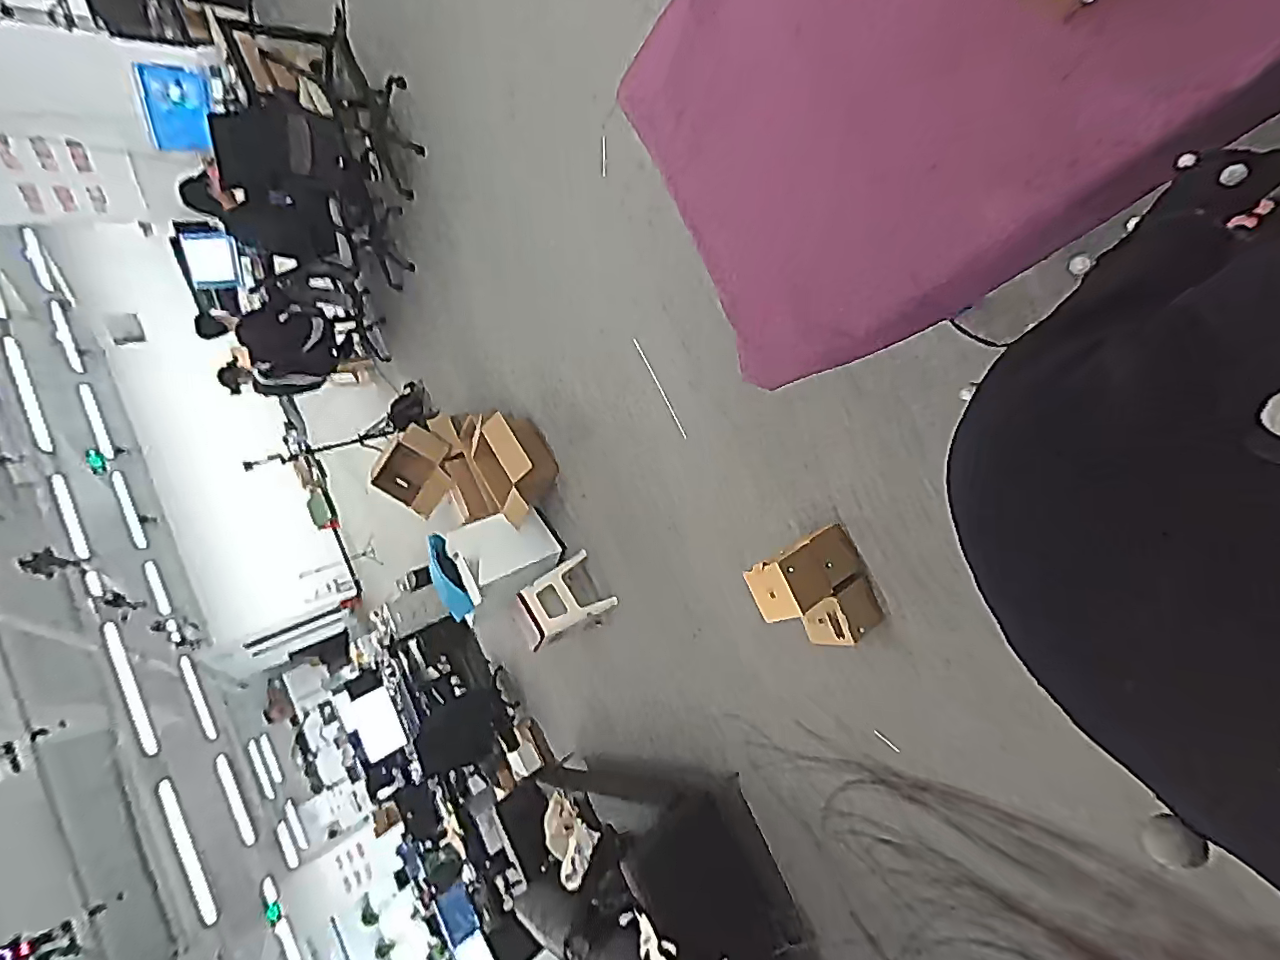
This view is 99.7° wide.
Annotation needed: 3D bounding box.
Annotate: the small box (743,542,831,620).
[{"bbox_3d":[0.466,0.318,1.705,0.168,0.176,0.179,-36,78,53],"label":"small box"}]
